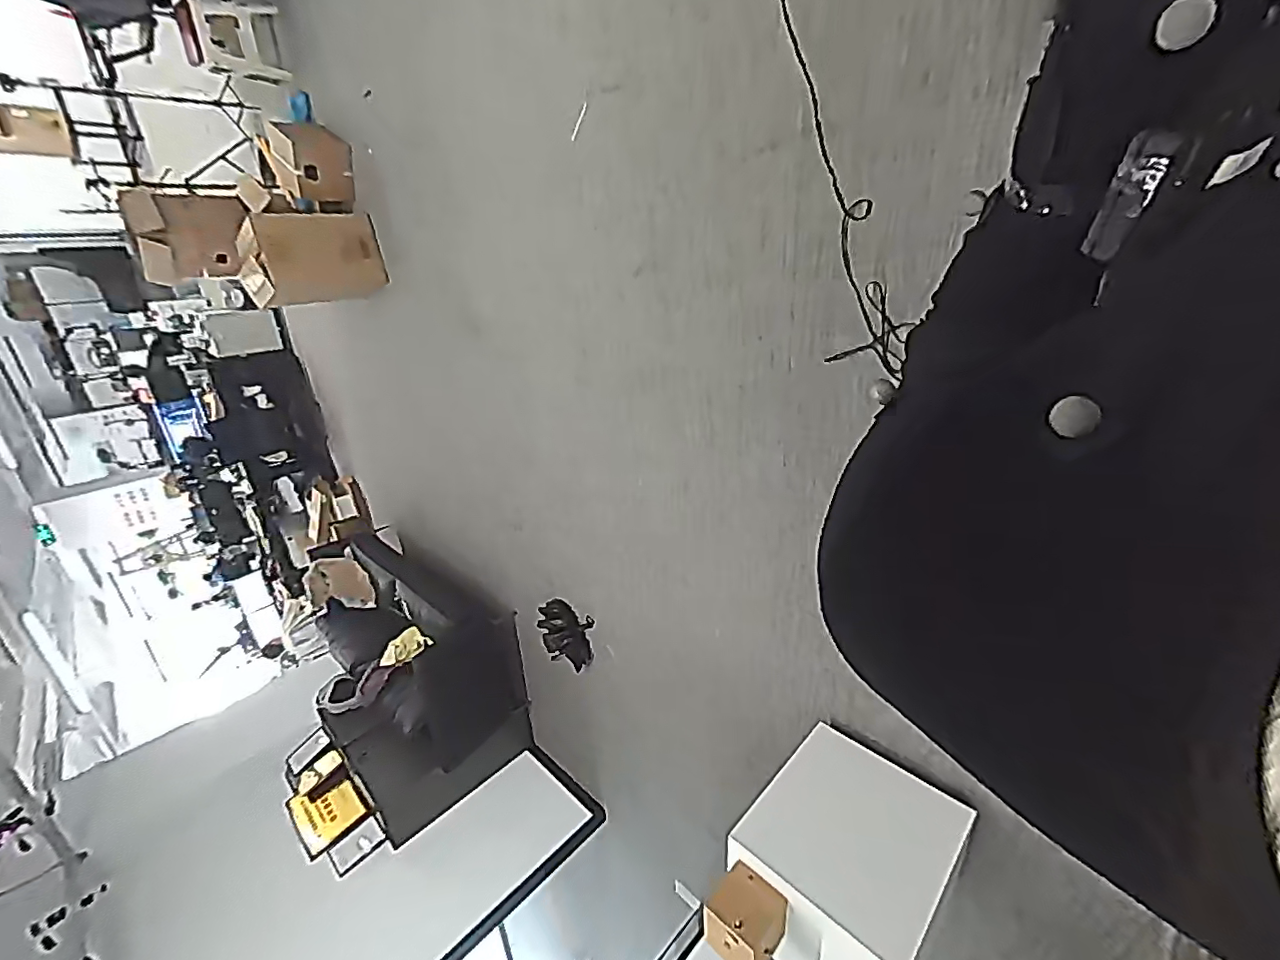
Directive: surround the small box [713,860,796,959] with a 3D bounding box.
[{"bbox_3d":[0.322,1.227,1.510,0.168,0.176,0.179,18,122,42],"label":"small box"}]
